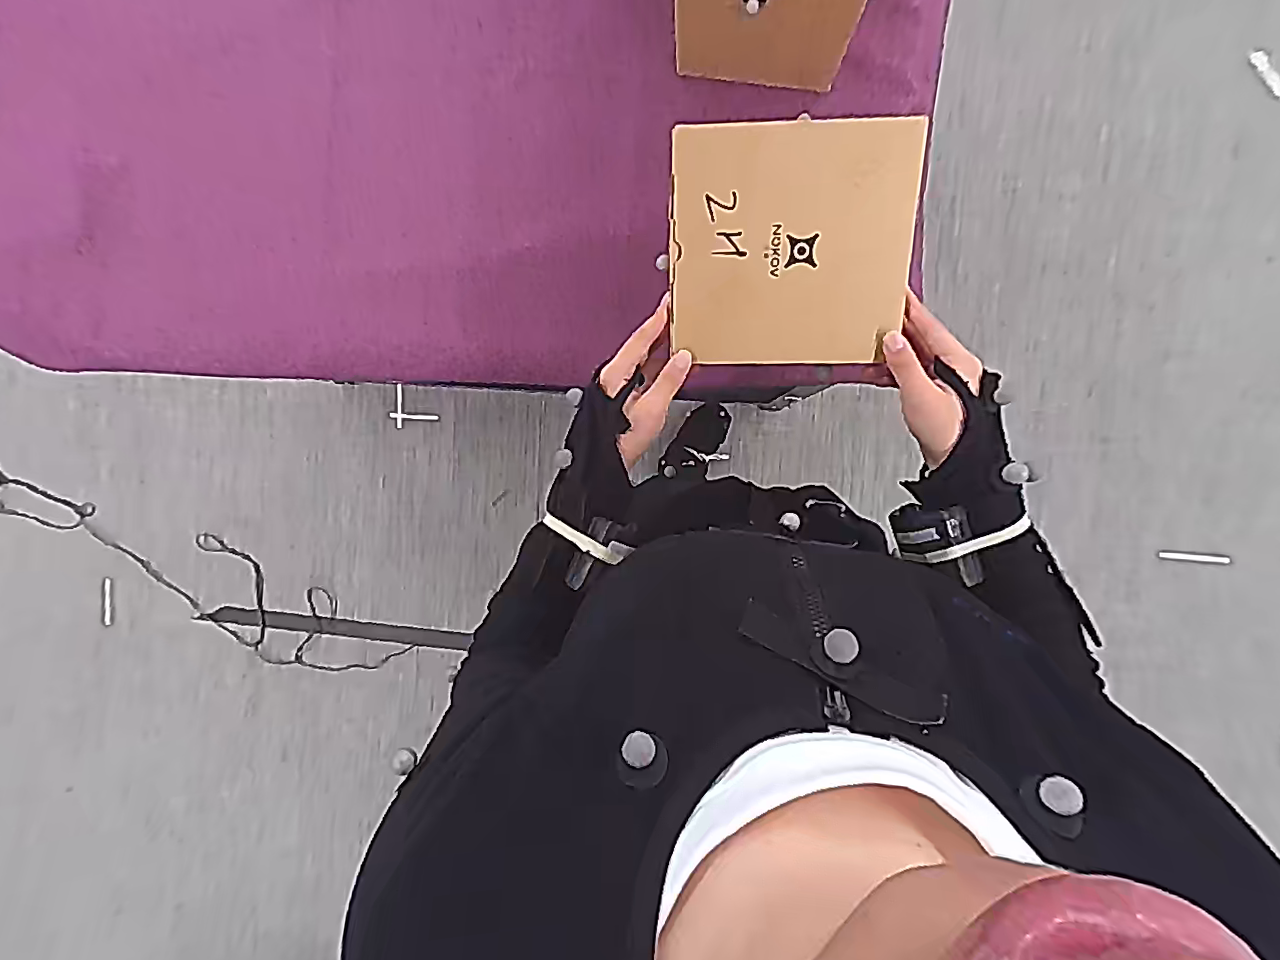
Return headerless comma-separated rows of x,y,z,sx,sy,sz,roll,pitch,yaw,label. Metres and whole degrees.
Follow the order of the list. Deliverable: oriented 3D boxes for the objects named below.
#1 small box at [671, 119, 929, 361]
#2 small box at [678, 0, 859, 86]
0.118,-0.196,0.474,0.179,0.176,0.168,1,107,5,small box
0.134,-0.528,0.531,0.179,0.176,0.168,10,97,3,small box
